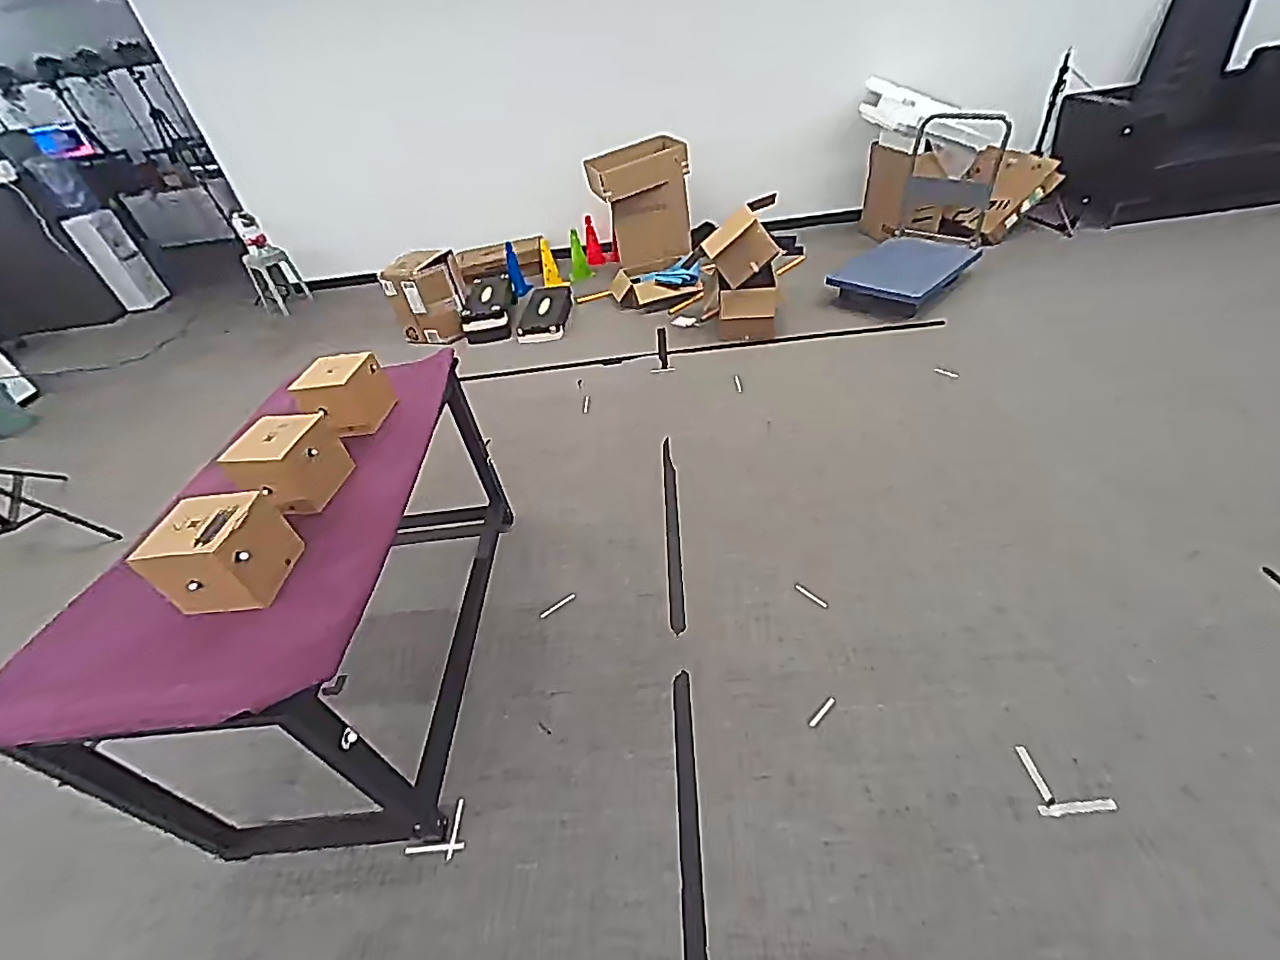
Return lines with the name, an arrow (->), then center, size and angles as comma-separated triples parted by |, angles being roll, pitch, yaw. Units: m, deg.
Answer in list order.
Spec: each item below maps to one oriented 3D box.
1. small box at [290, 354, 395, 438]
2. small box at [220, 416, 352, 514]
small box -> -0.818, -0.228, 1.513 | 0.168, 0.176, 0.179 | -5, 40, 7
small box -> -0.825, -0.033, 1.285 | 0.168, 0.176, 0.179 | -1, 41, 9
